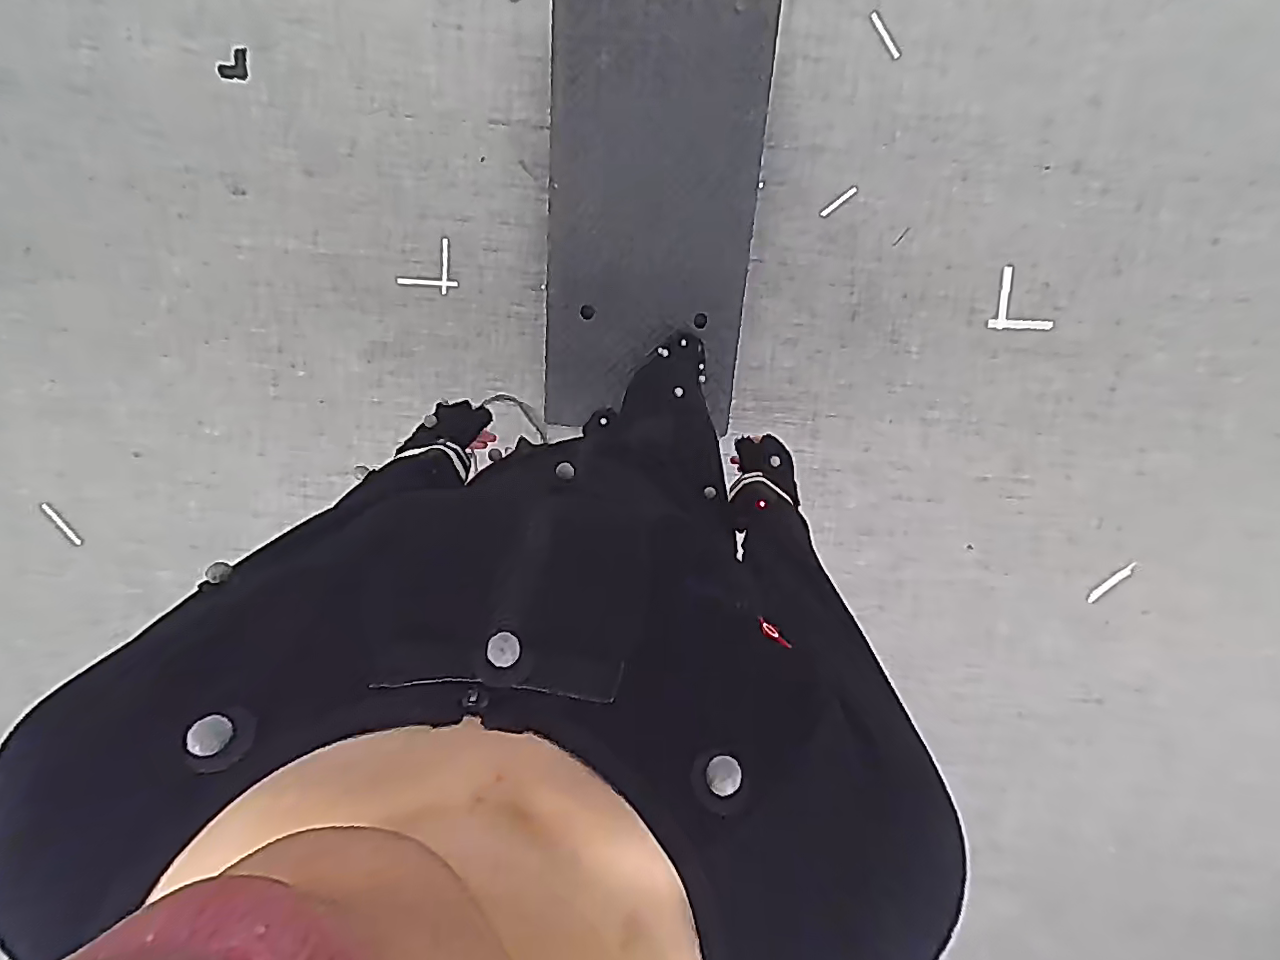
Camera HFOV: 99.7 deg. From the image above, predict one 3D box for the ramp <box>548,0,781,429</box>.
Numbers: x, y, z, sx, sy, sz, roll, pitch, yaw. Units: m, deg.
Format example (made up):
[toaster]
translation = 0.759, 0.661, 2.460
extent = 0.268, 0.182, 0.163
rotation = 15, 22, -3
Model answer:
[ramp]
translation = 0.031, -0.620, 1.291
extent = 0.509, 0.206, 0.991
rotation = 2, 99, -2
